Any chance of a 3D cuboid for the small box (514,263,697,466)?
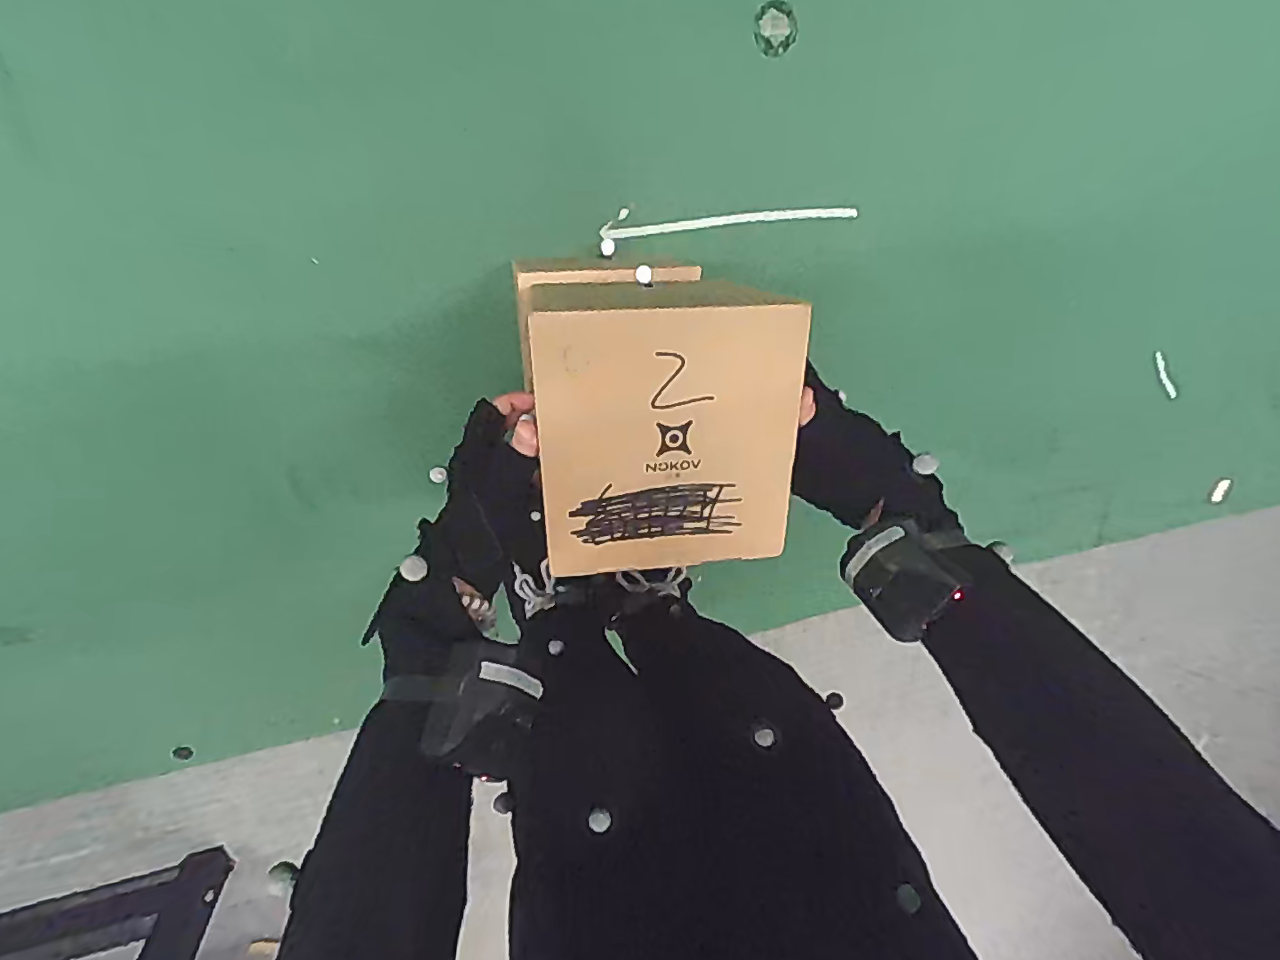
[{"bbox_3d":[-0.045,-0.134,0.588,0.168,0.176,0.179,-6,117,-12],"label":"small box"}]
